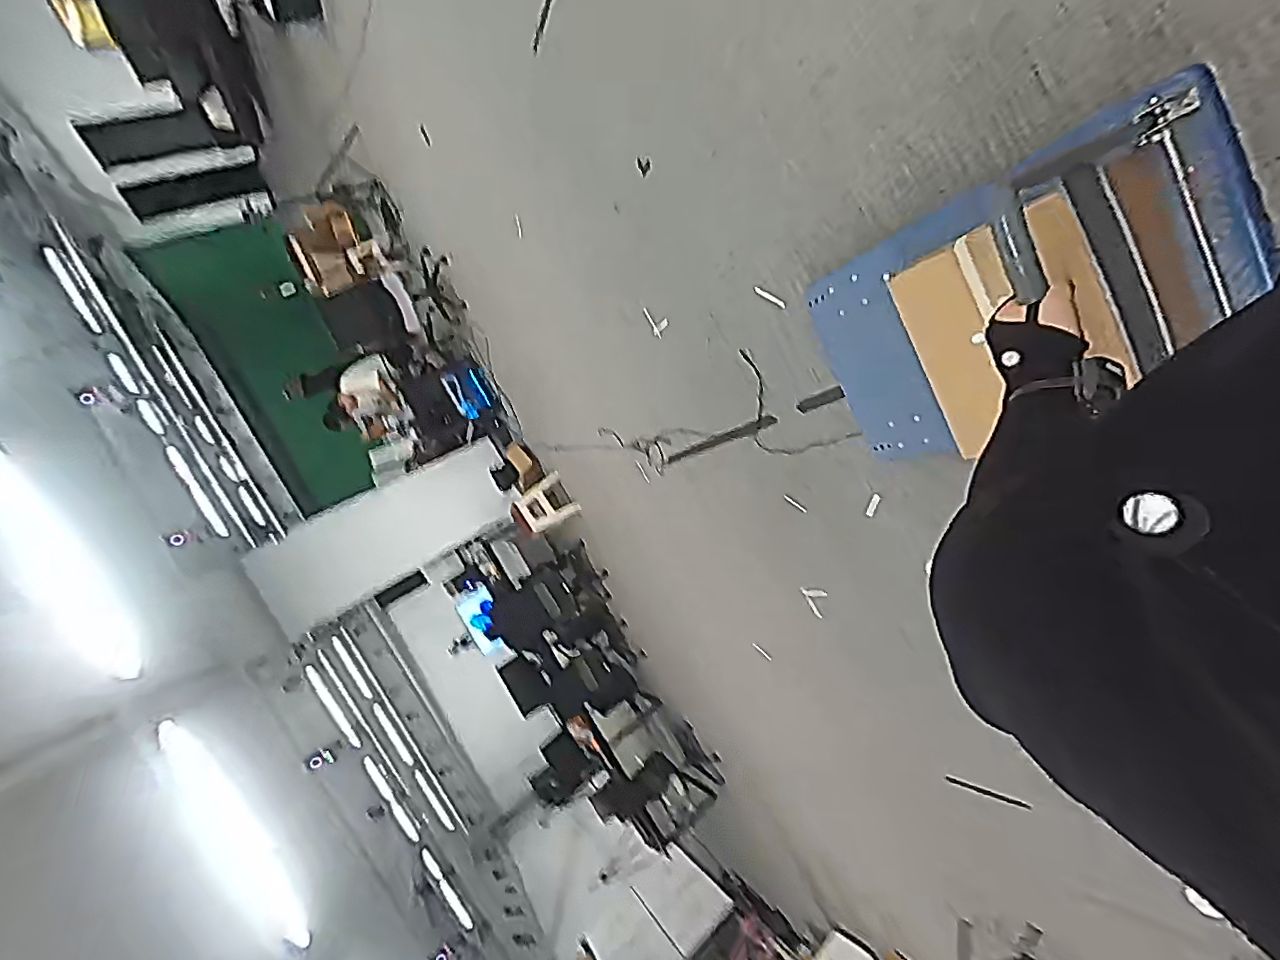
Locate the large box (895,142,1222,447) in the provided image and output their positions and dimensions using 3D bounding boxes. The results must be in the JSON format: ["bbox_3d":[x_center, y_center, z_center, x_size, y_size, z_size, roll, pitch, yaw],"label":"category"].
[{"bbox_3d":[0.772,-0.322,1.013,0.408,0.320,0.320,63,154,-7],"label":"large box"}]
